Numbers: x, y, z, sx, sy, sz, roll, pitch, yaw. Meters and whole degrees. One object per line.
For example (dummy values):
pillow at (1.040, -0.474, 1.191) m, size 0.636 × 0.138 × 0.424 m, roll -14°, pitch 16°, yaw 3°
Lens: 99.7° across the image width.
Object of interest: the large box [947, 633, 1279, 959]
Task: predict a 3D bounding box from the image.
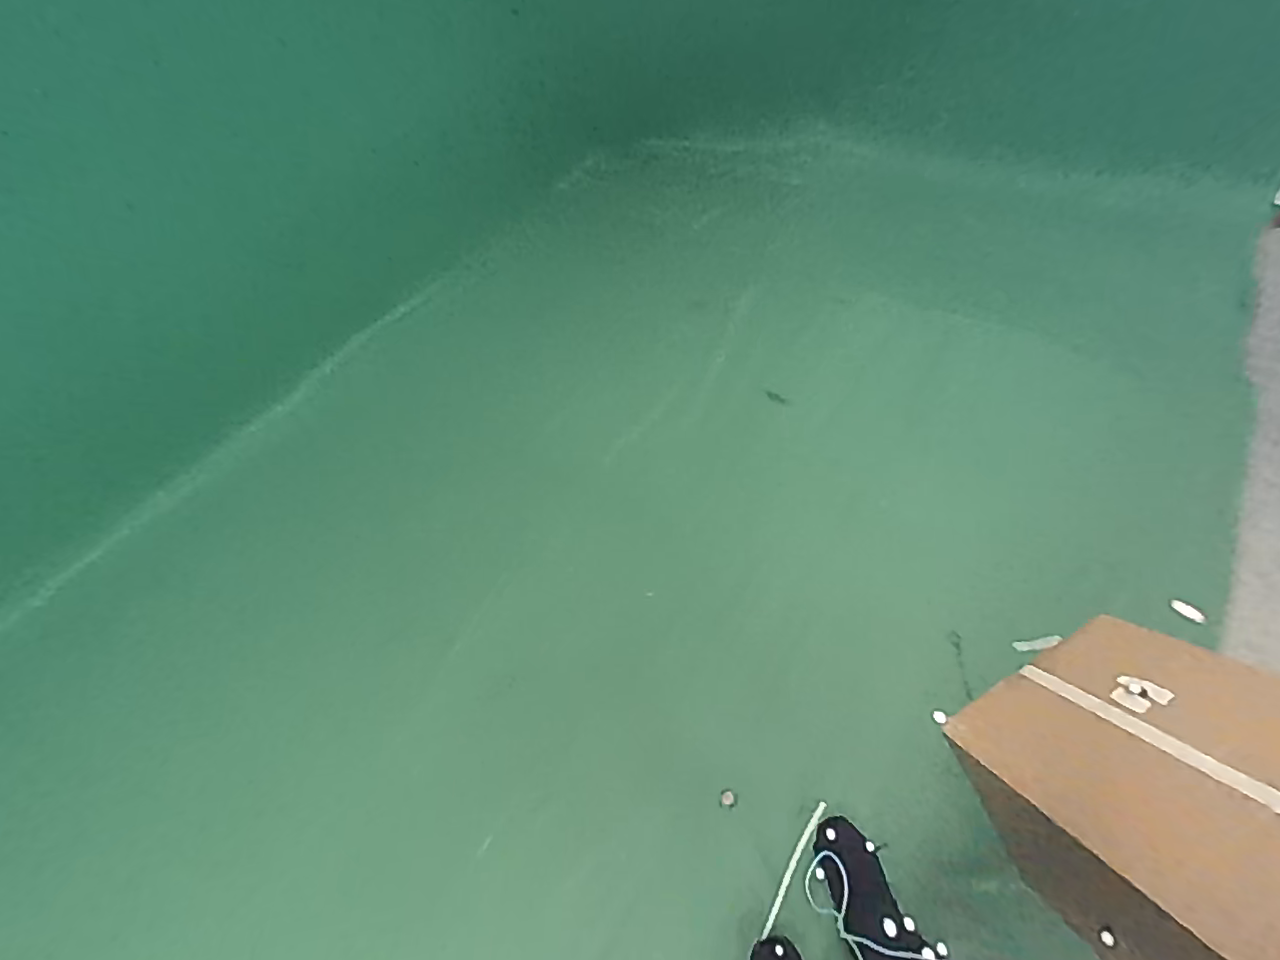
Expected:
large box at (0.687, 0.455, 0.639) m, size 0.320 × 0.408 × 0.320 m, roll -31°, pitch 98°, yaw -3°
